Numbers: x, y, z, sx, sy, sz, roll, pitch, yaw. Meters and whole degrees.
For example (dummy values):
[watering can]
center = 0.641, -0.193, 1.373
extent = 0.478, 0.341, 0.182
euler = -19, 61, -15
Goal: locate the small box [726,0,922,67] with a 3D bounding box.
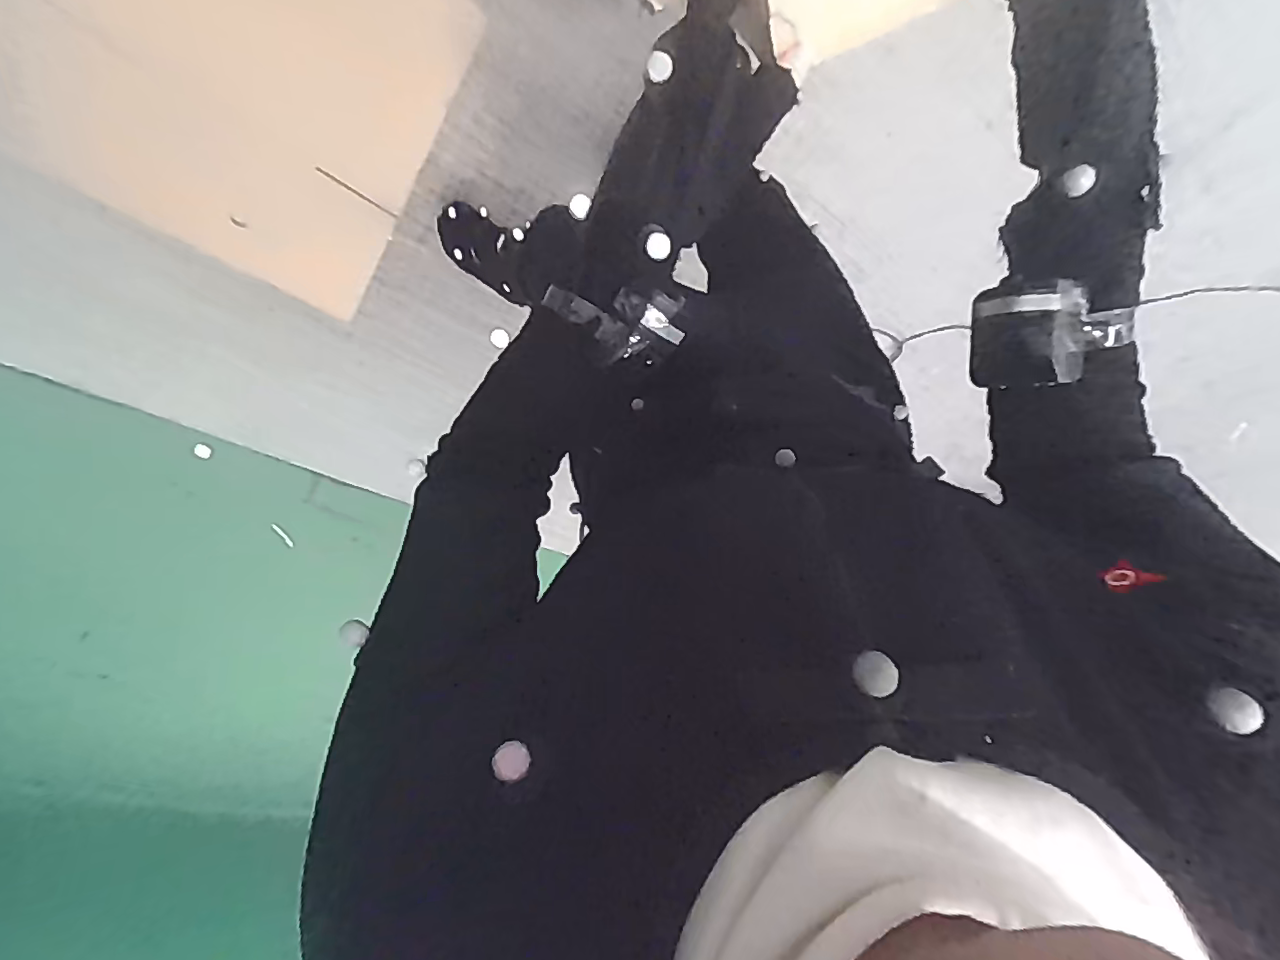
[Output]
[small box]
center = 0.122, -0.377, 0.297
extent = 0.179, 0.176, 0.168
euler = -20, 138, 15
